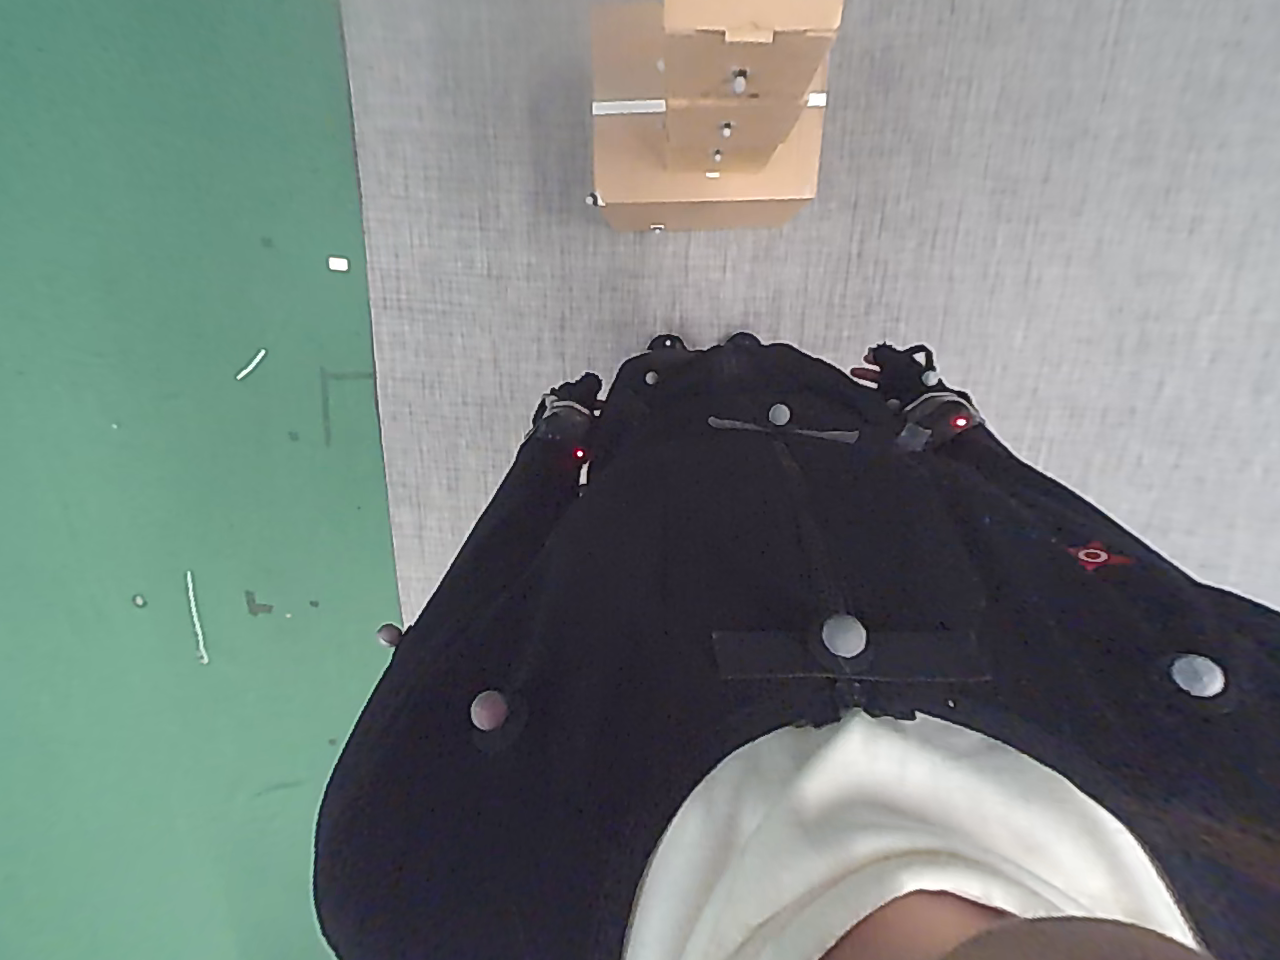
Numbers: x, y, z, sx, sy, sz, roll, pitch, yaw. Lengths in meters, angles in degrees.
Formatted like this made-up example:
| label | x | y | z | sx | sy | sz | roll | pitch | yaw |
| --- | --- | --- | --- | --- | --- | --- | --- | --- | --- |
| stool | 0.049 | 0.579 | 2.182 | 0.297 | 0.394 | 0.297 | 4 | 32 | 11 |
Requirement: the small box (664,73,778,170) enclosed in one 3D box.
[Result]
| label | x | y | z | sx | sy | sz | roll | pitch | yaw |
| --- | --- | --- | --- | --- | --- | --- | --- | --- | --- |
| small box | 0.131 | -0.613 | 0.873 | 0.179 | 0.176 | 0.168 | 2 | 107 | 3 |

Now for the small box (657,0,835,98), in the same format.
| label | x | y | z | sx | sy | sz | roll | pitch | yaw |
| --- | --- | --- | --- | --- | --- | --- | --- | --- | --- |
| small box | 0.111 | -0.523 | 0.559 | 0.168 | 0.176 | 0.179 | 5 | 108 | 4 |

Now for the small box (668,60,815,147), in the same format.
| label | x | y | z | sx | sy | sz | roll | pitch | yaw |
| --- | --- | --- | --- | --- | --- | --- | --- | --- | --- |
| small box | 0.125 | -0.561 | 0.718 | 0.179 | 0.176 | 0.168 | -1 | 107 | 4 |
